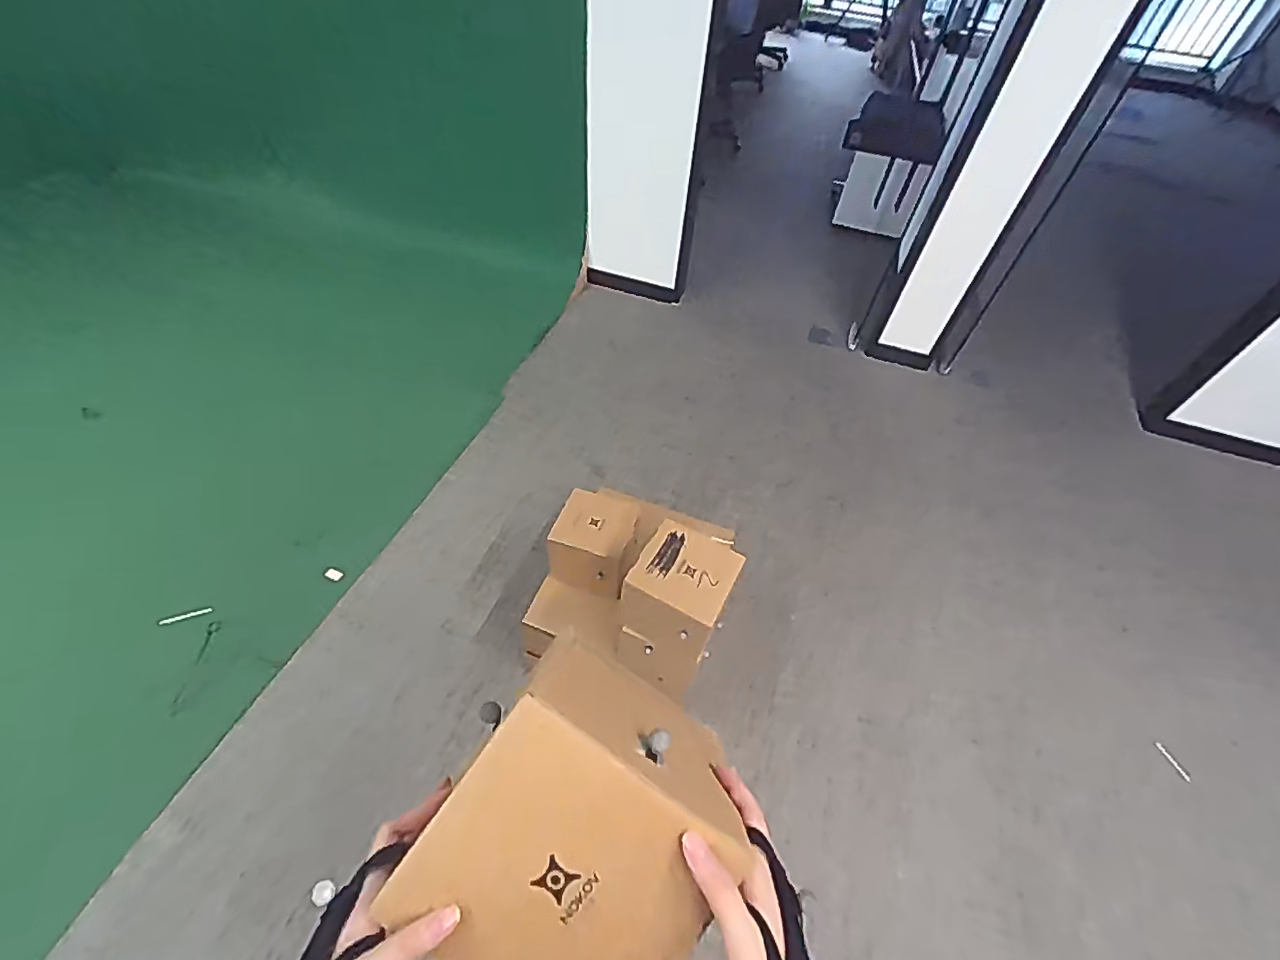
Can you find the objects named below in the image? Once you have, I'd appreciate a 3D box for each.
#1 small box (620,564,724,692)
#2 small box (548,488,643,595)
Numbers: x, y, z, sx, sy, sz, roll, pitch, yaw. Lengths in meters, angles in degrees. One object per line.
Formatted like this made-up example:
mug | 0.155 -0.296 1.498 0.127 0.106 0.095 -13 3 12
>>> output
small box | 0.064 0.321 1.169 0.168 0.176 0.179 22 50 12
small box | -0.105 0.153 1.300 0.179 0.176 0.168 17 48 9
